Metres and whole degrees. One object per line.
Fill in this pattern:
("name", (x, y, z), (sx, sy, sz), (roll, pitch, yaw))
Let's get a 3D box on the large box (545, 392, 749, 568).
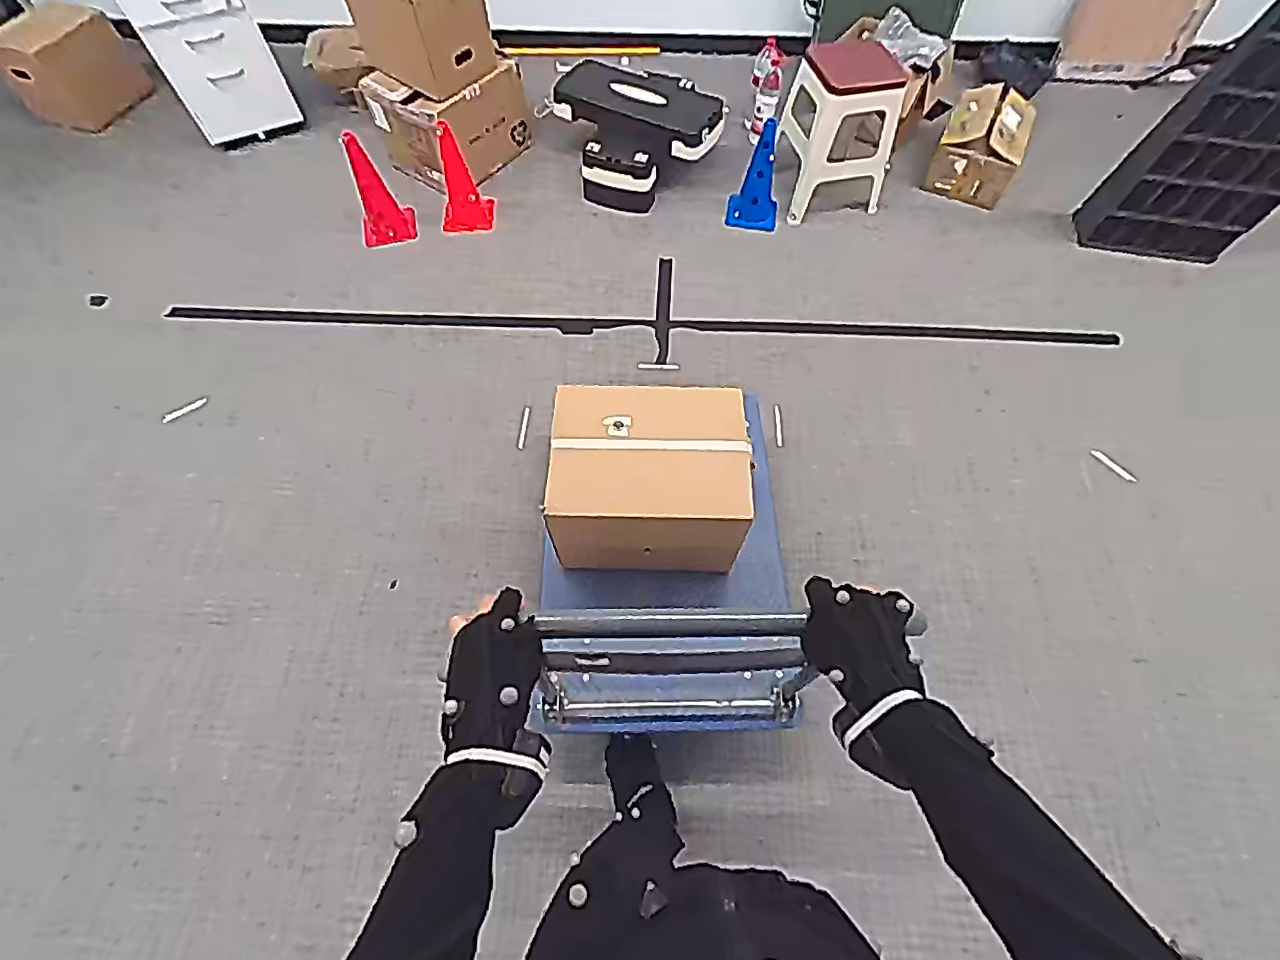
("large box", (0.017, 0.012, 1.247), (0.408, 0.320, 0.320), (1, 62, 1))
